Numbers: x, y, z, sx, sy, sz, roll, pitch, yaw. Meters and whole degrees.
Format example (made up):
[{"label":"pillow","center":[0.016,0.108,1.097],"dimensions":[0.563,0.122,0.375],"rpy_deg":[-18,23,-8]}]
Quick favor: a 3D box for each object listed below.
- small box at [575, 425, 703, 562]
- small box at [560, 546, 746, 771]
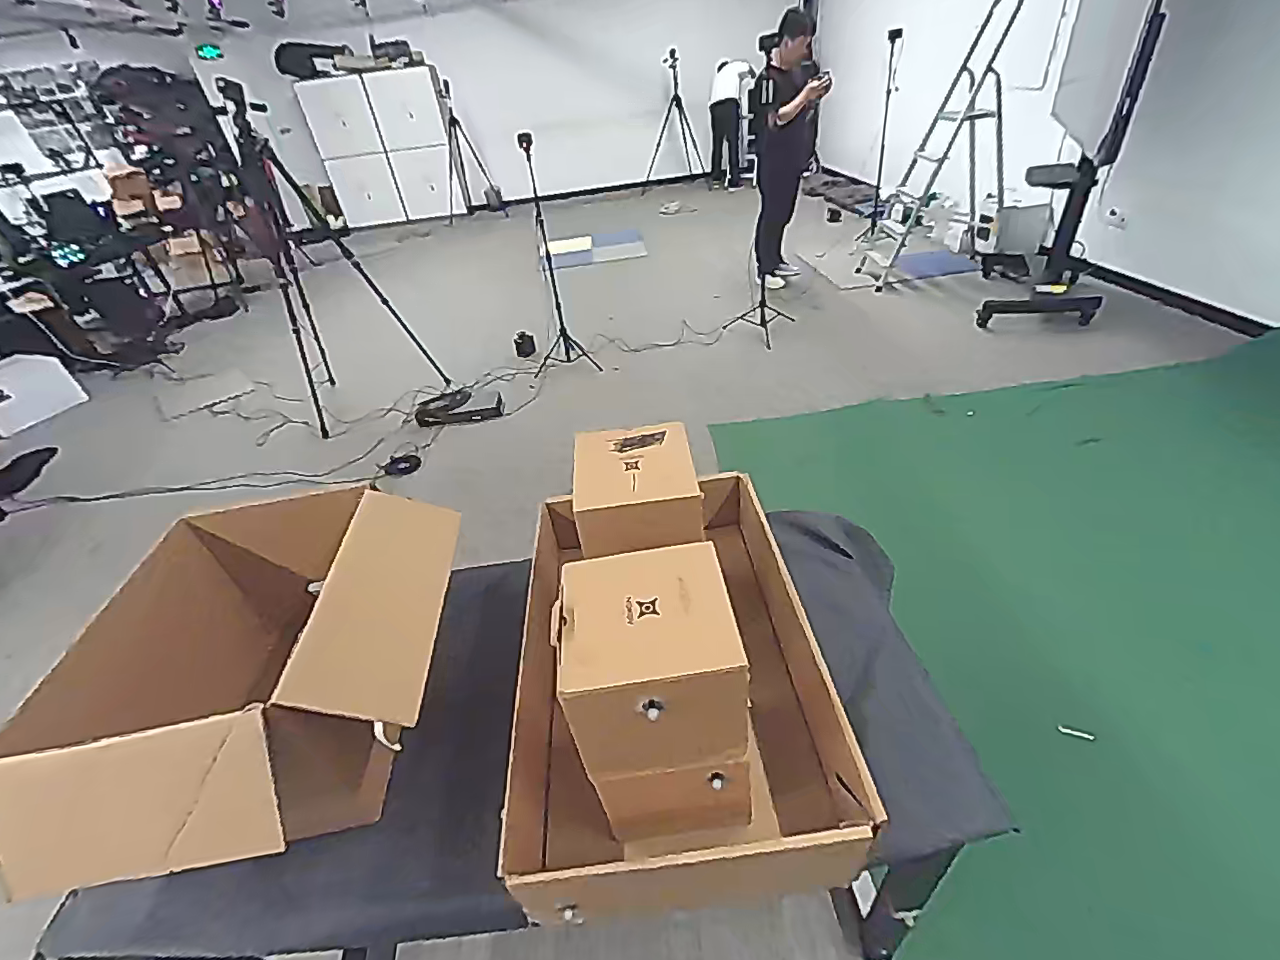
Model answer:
[{"label":"small box","center":[0.001,0.042,0.802],"dimensions":[0.168,0.176,0.179],"rpy_deg":[-7,40,1]},{"label":"small box","center":[0.015,0.199,0.601],"dimensions":[0.179,0.176,0.168],"rpy_deg":[-8,38,-1]}]
